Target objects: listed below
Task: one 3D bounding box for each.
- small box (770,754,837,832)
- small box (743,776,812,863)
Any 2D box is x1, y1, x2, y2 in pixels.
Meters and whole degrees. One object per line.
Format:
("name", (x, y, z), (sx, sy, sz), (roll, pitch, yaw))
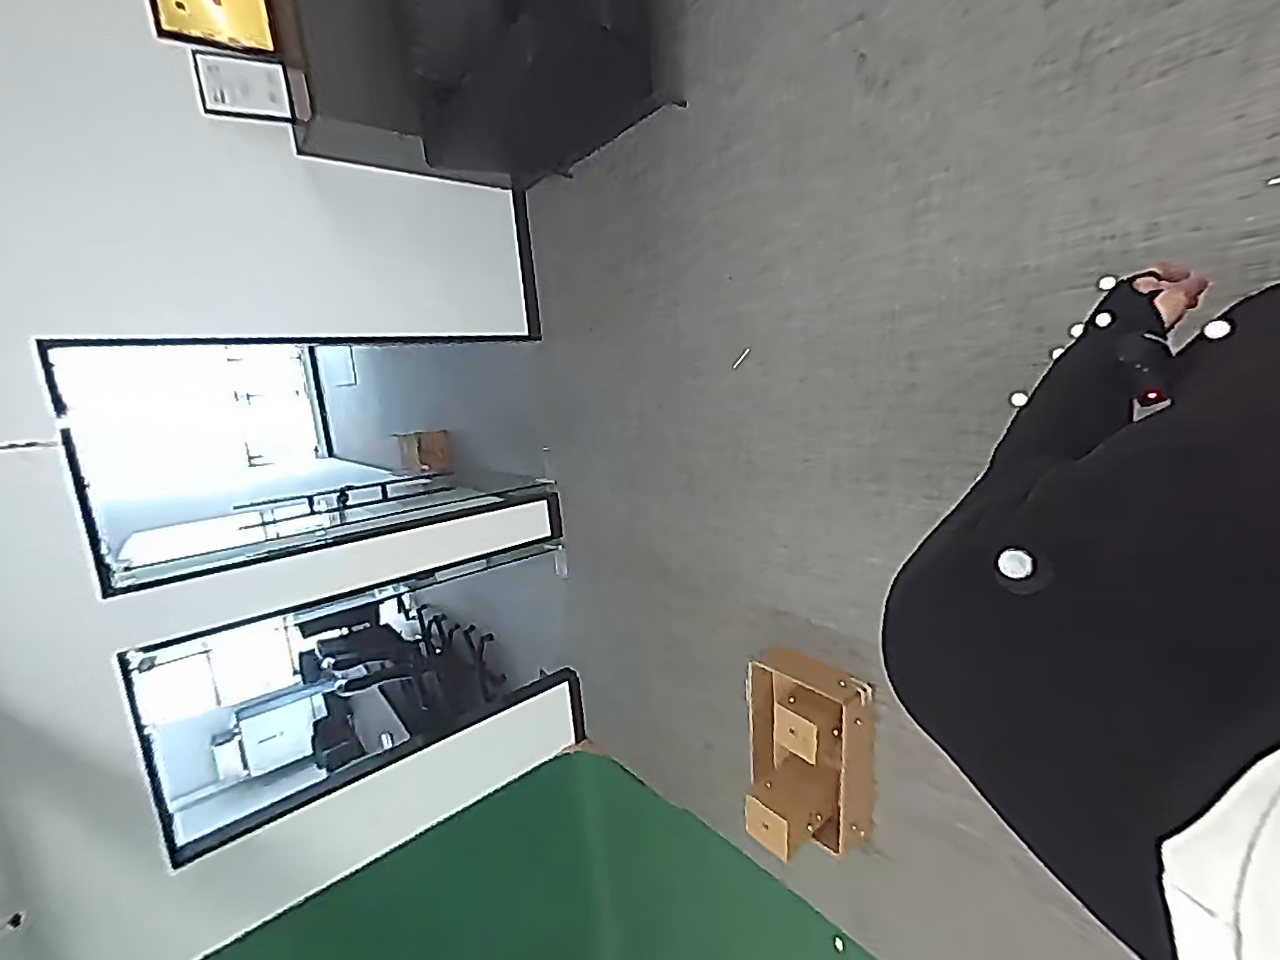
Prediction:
("small box", (0.605, 1.158, 2.012), (0.179, 0.176, 0.168), (13, 110, 49))
("small box", (0.483, 1.185, 1.907), (0.179, 0.176, 0.168), (12, 108, 48))
